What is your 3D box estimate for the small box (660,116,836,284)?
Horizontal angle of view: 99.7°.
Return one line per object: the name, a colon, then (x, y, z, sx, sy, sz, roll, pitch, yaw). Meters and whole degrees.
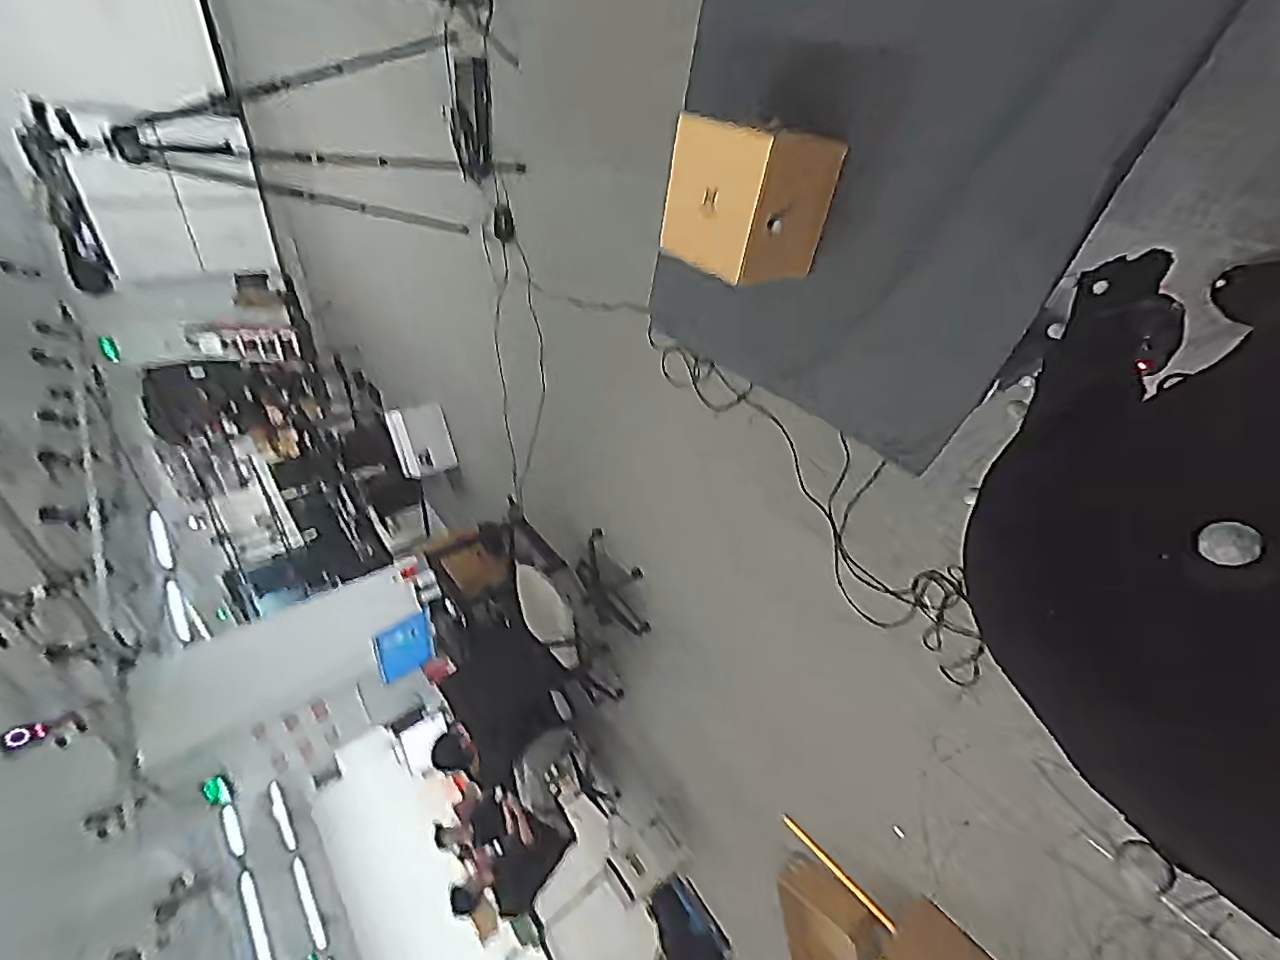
small box: (0.154, -0.406, 0.781, 0.168, 0.176, 0.179, 39, 138, 34)
